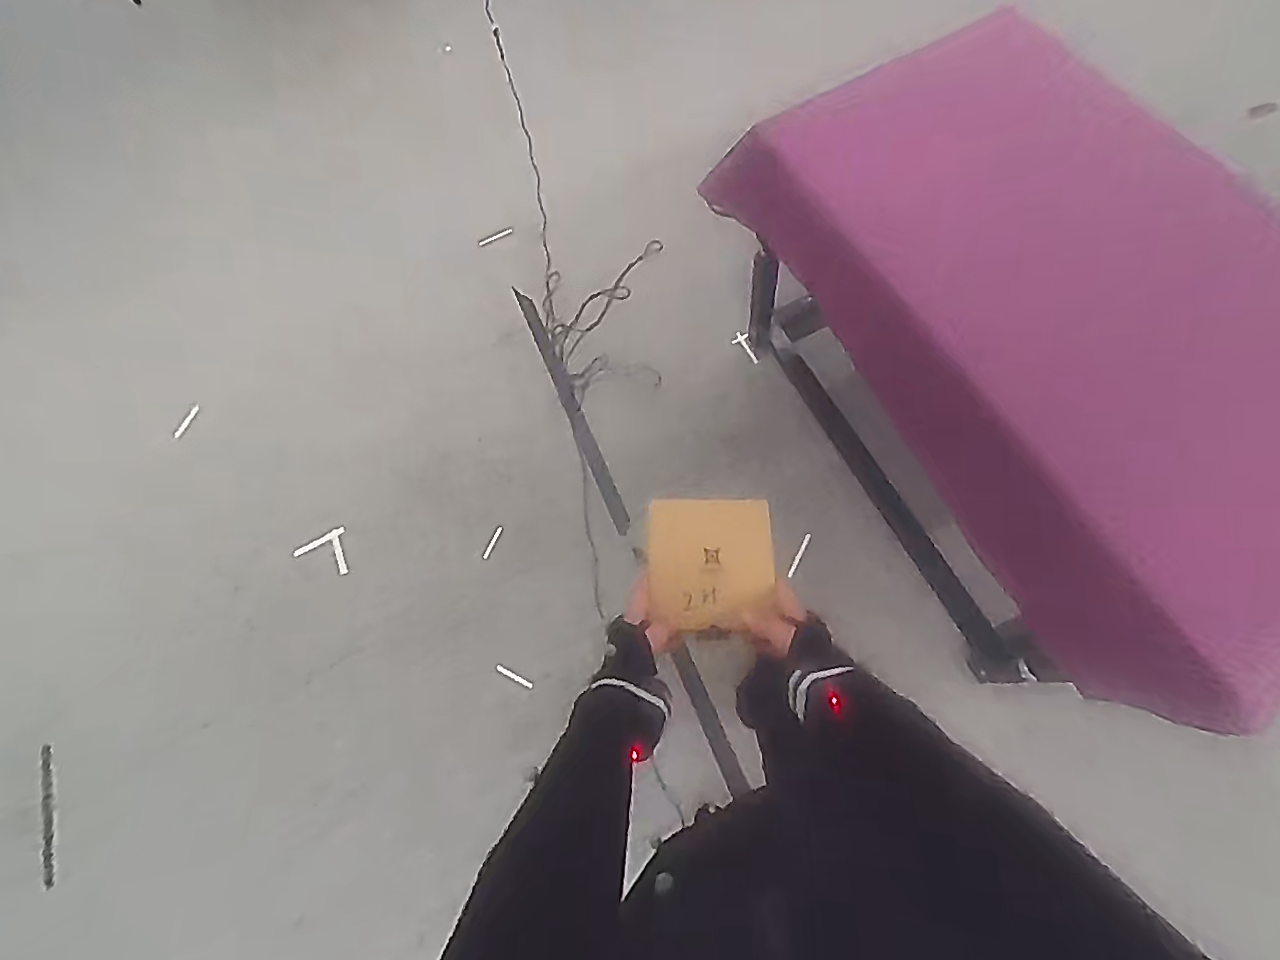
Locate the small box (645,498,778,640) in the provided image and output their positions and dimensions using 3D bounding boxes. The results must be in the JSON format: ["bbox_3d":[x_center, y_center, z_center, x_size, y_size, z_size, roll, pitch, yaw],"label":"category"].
[{"bbox_3d":[0.091,0.134,0.782,0.168,0.176,0.179,0,70,-1],"label":"small box"}]
